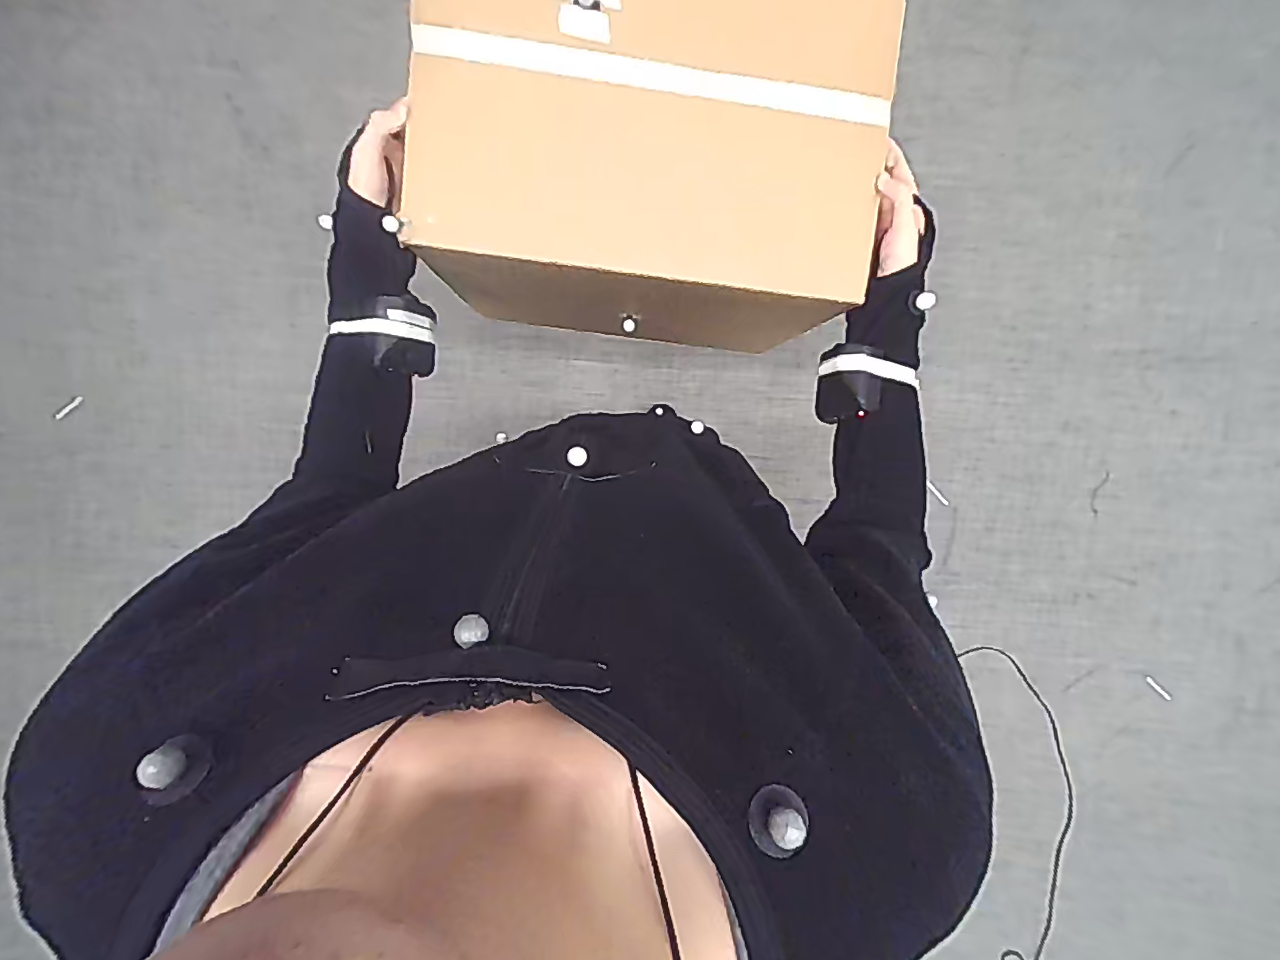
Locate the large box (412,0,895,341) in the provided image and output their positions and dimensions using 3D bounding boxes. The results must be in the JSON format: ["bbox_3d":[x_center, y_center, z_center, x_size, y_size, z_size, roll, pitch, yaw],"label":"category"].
[{"bbox_3d":[0.007,-0.350,0.613,0.408,0.320,0.320,6,95,-4],"label":"large box"}]
